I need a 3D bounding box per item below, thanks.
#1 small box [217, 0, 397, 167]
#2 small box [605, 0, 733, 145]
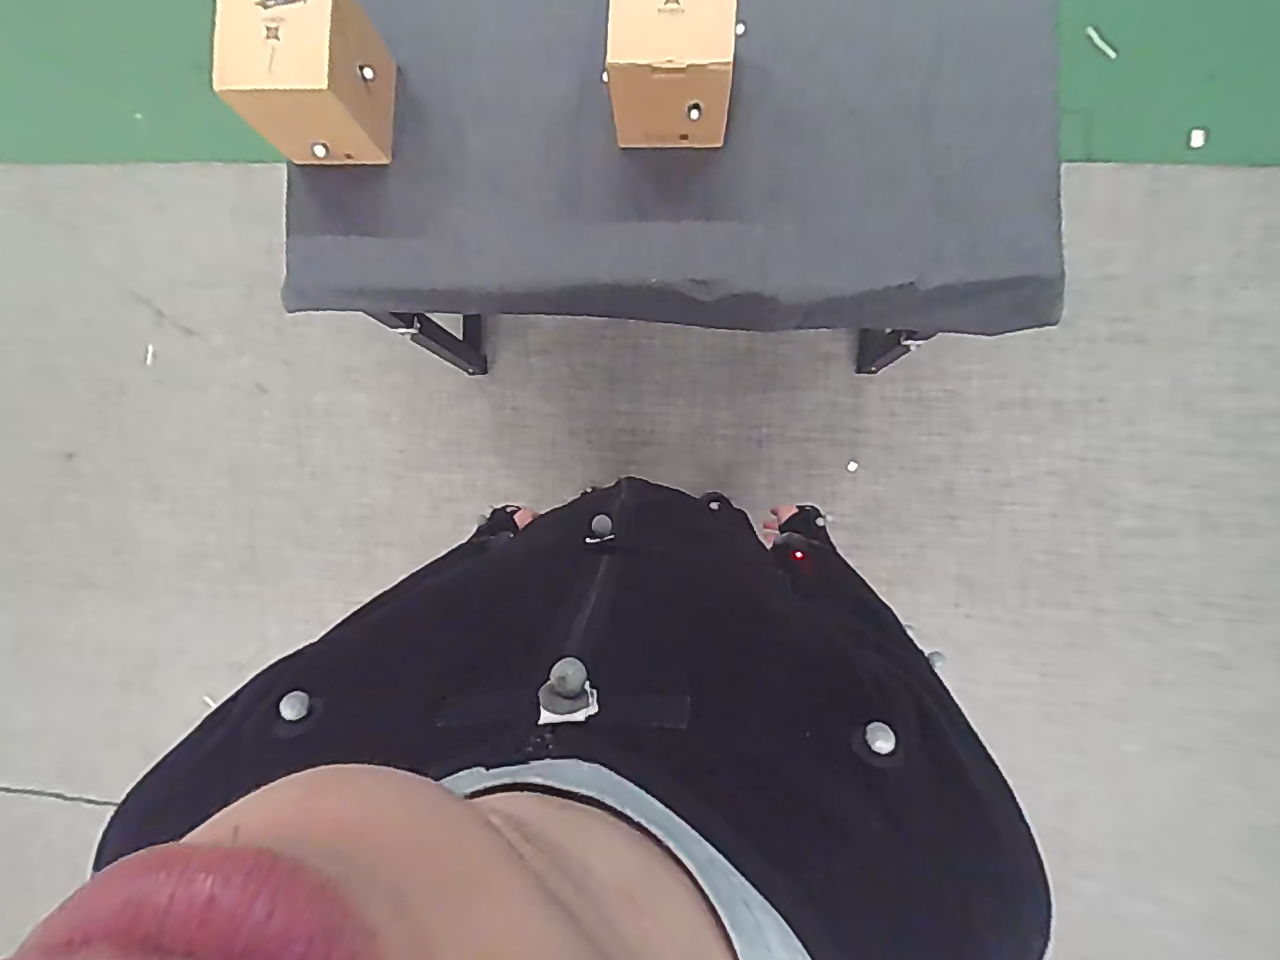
[{"bbox_3d":[-0.486,-0.607,0.813,0.168,0.176,0.179,2,90,3],"label":"small box"},{"bbox_3d":[0.044,-0.618,0.783,0.168,0.176,0.179,2,88,2],"label":"small box"}]
